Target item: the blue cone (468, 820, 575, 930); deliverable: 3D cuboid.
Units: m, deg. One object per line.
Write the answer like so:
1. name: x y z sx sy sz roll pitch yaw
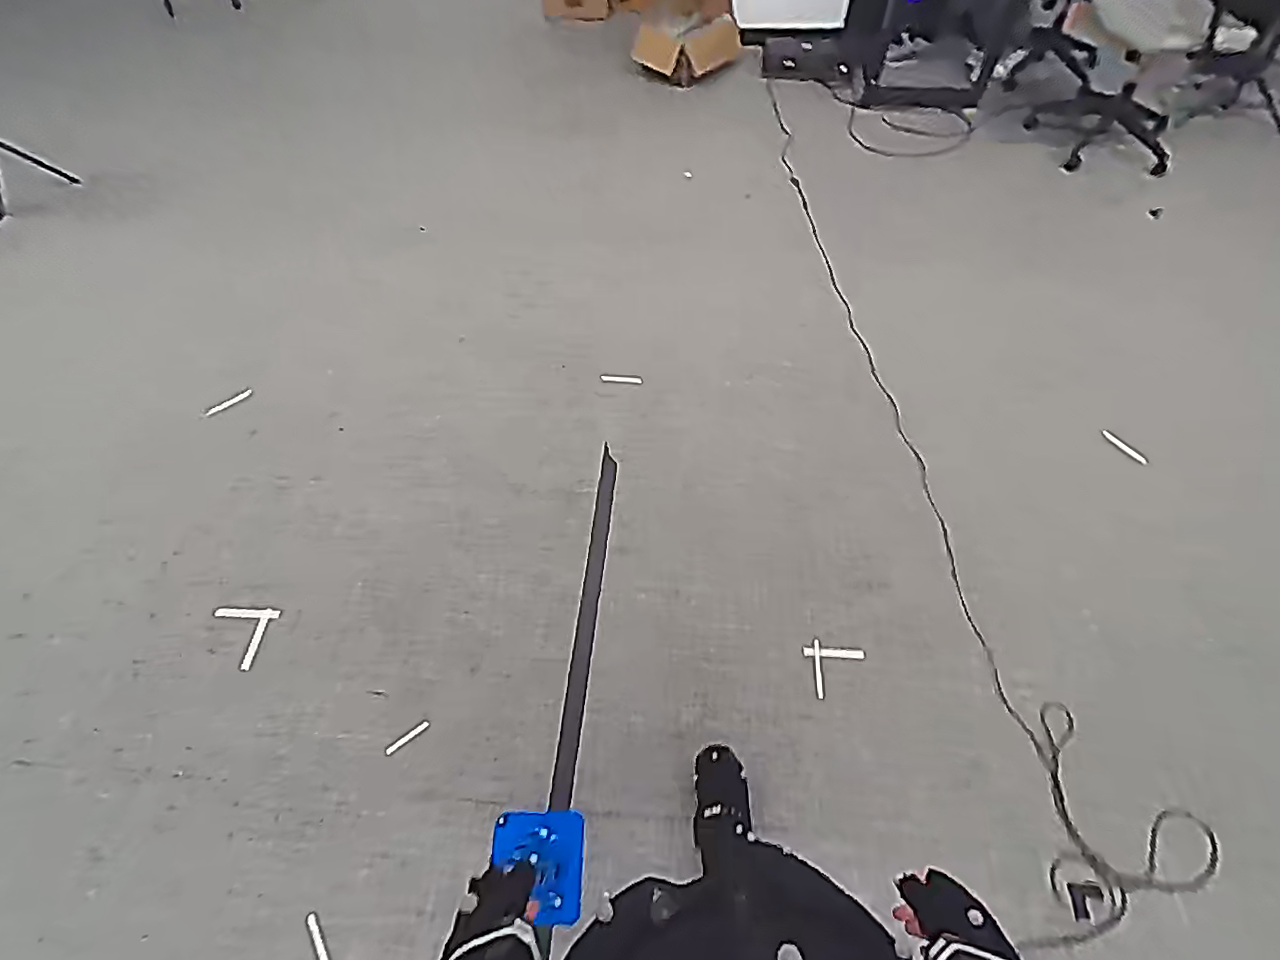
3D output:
1. blue cone: -0.241 0.753 1.014 0.192 0.380 0.193 1 58 2
